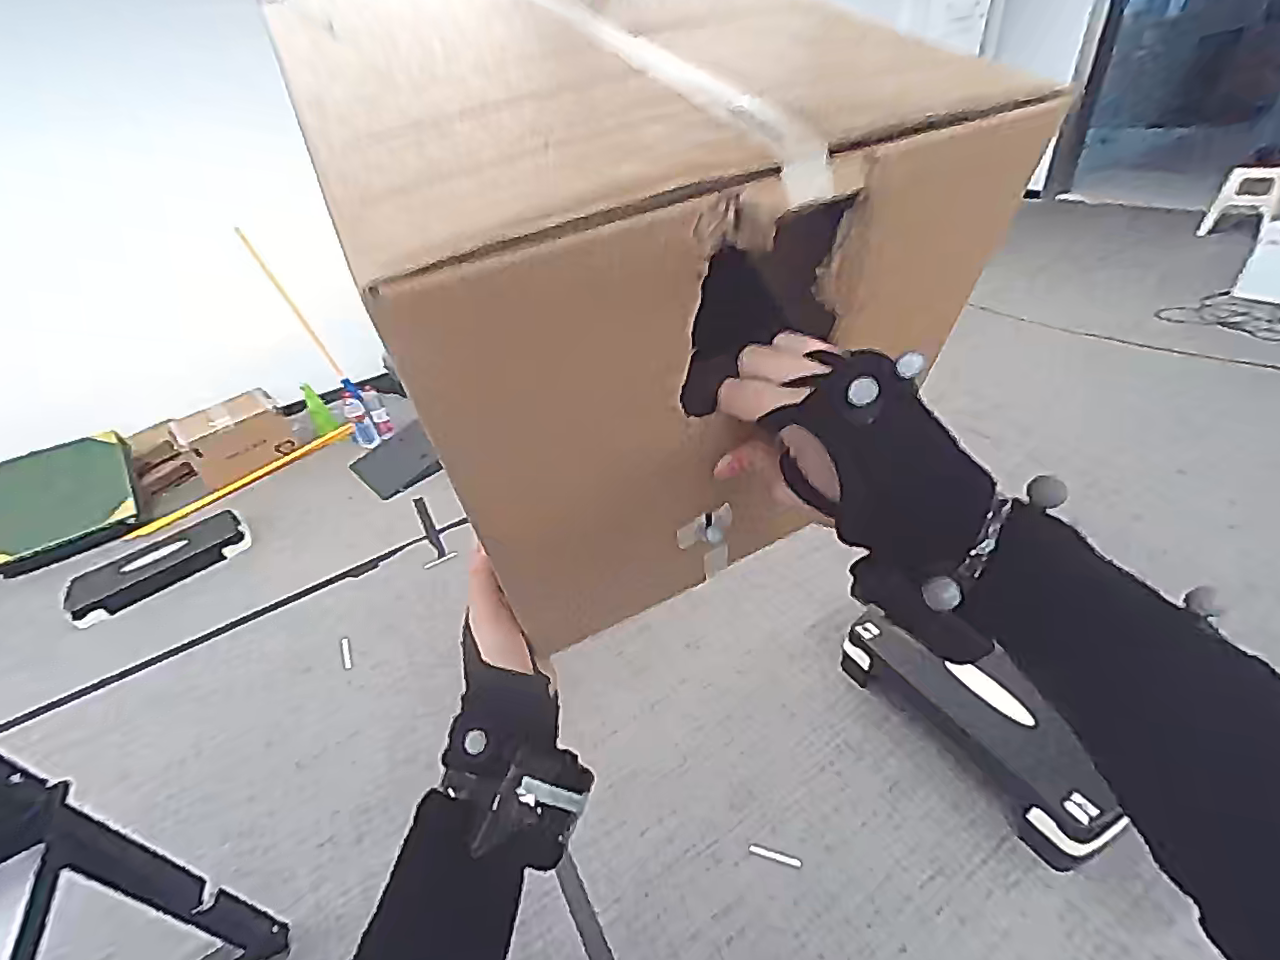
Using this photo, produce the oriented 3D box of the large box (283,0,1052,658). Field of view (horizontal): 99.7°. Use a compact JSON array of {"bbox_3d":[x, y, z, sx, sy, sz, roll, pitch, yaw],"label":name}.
[{"bbox_3d":[-0.026,-0.147,0.435,0.320,0.320,0.408,-23,53,-16],"label":"large box"}]
